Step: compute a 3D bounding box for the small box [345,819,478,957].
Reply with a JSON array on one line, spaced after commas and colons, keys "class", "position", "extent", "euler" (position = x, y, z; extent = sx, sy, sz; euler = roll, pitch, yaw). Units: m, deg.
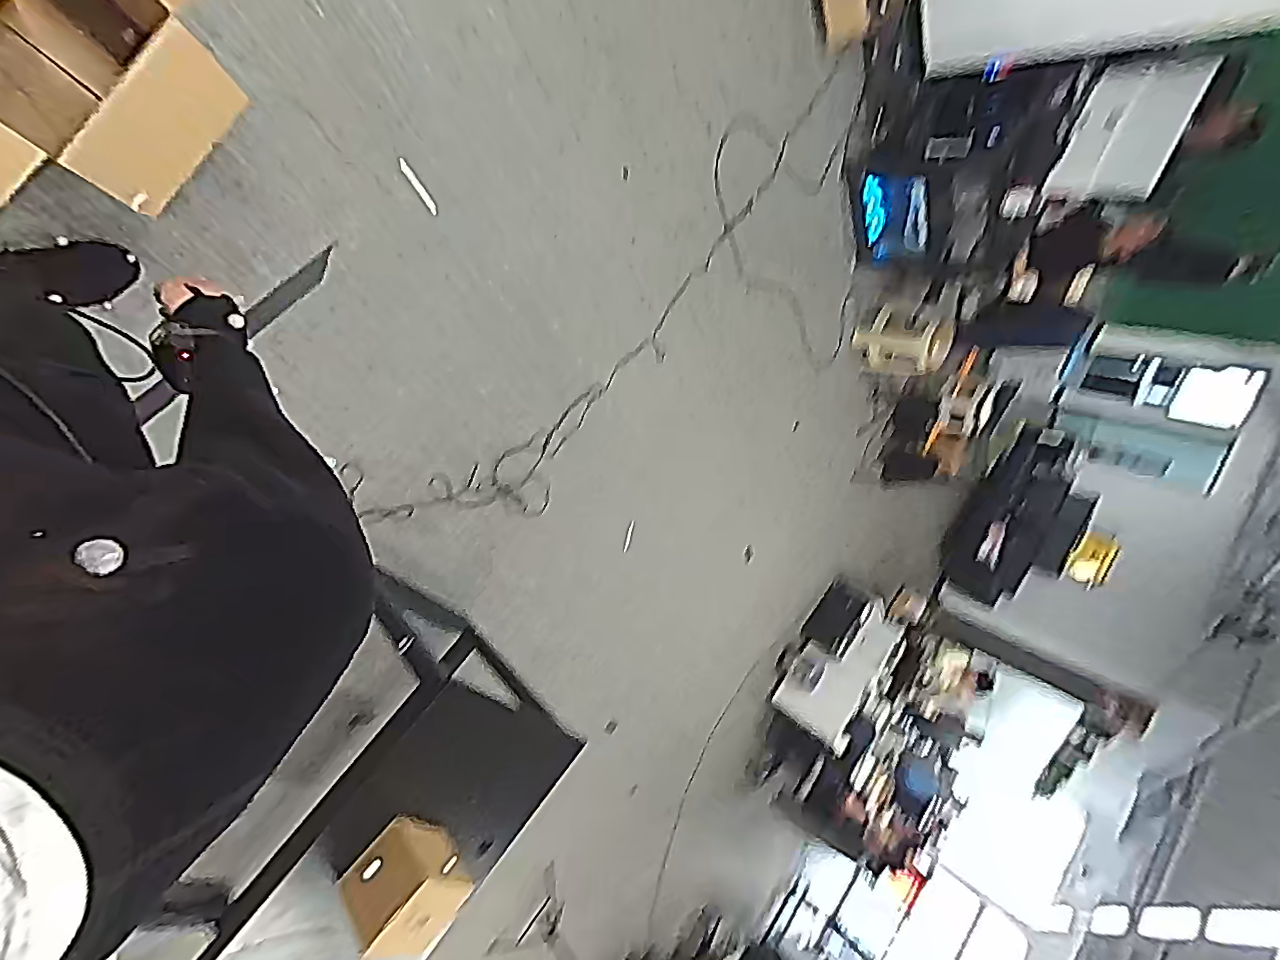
[{"class": "small box", "position": [-0.492, 0.873, 1.165], "extent": [0.168, 0.176, 0.179], "euler": [-46, 136, -19]}]
